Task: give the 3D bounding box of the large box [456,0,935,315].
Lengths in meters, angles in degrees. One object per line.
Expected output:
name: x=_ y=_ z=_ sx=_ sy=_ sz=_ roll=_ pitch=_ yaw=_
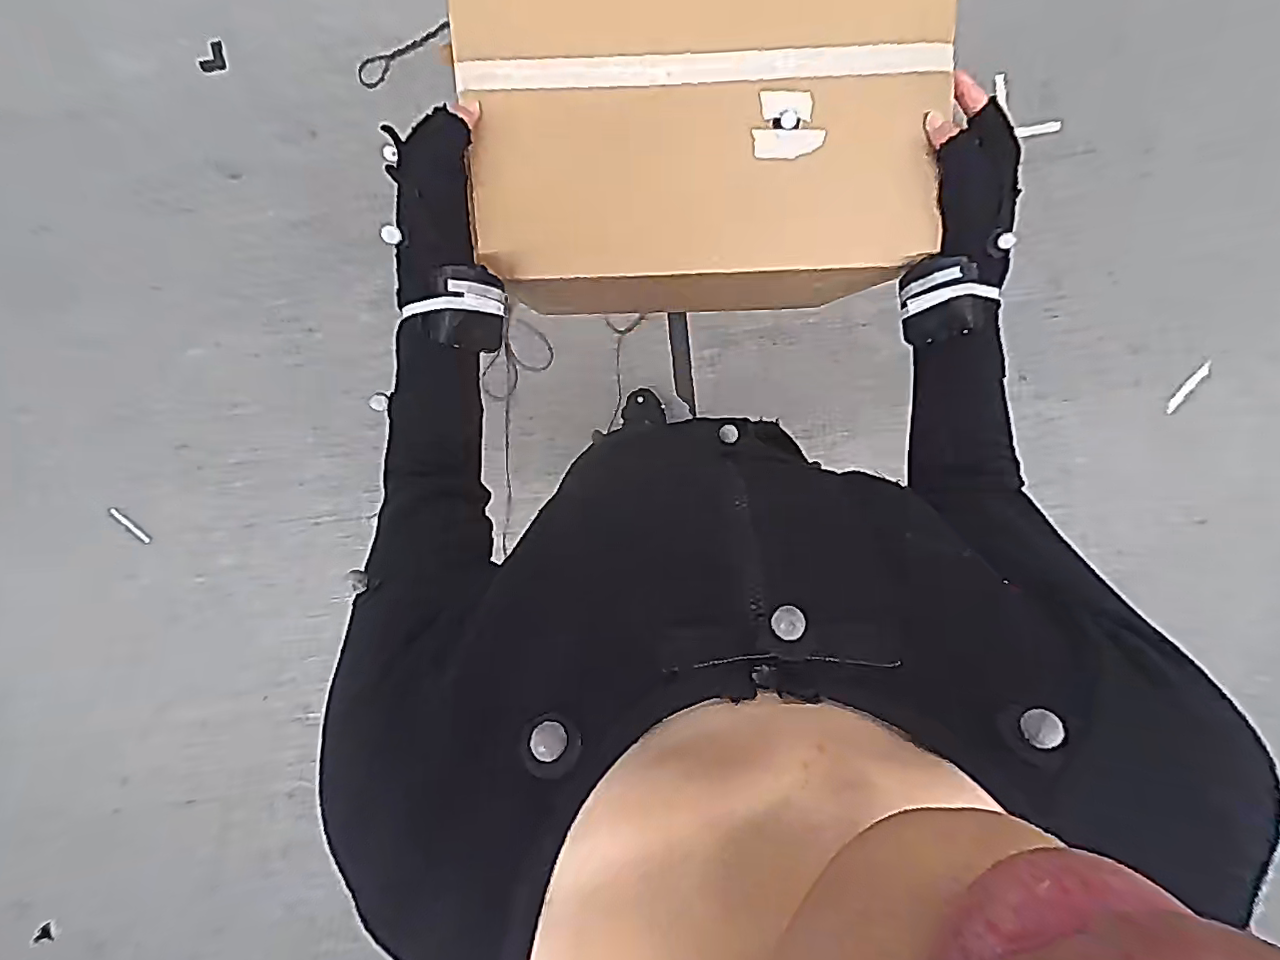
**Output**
large box: x=0.045 y=-0.370 z=0.605 sx=0.408 sy=0.320 sz=0.320 roll=-3 pitch=102 yaw=-1
